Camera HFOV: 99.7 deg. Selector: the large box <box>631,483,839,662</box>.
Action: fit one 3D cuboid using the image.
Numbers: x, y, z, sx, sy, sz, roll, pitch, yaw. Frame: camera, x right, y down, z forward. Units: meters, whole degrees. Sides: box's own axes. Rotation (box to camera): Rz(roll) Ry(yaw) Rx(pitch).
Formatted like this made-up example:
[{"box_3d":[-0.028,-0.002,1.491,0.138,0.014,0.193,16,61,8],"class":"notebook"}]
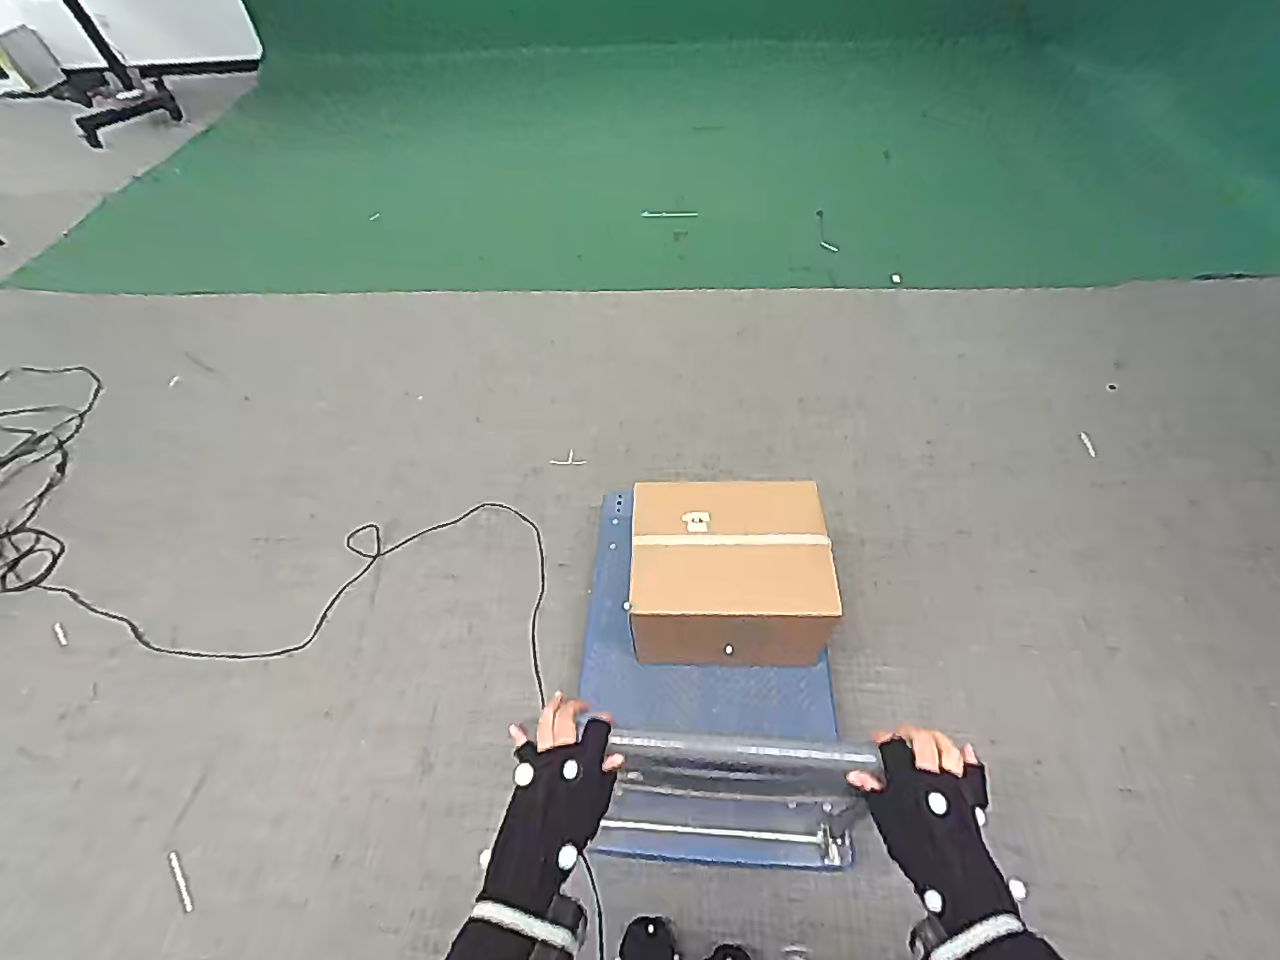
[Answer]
[{"box_3d":[0.194,0.221,1.244,0.408,0.320,0.320,-1,52,4],"class":"large box"}]
